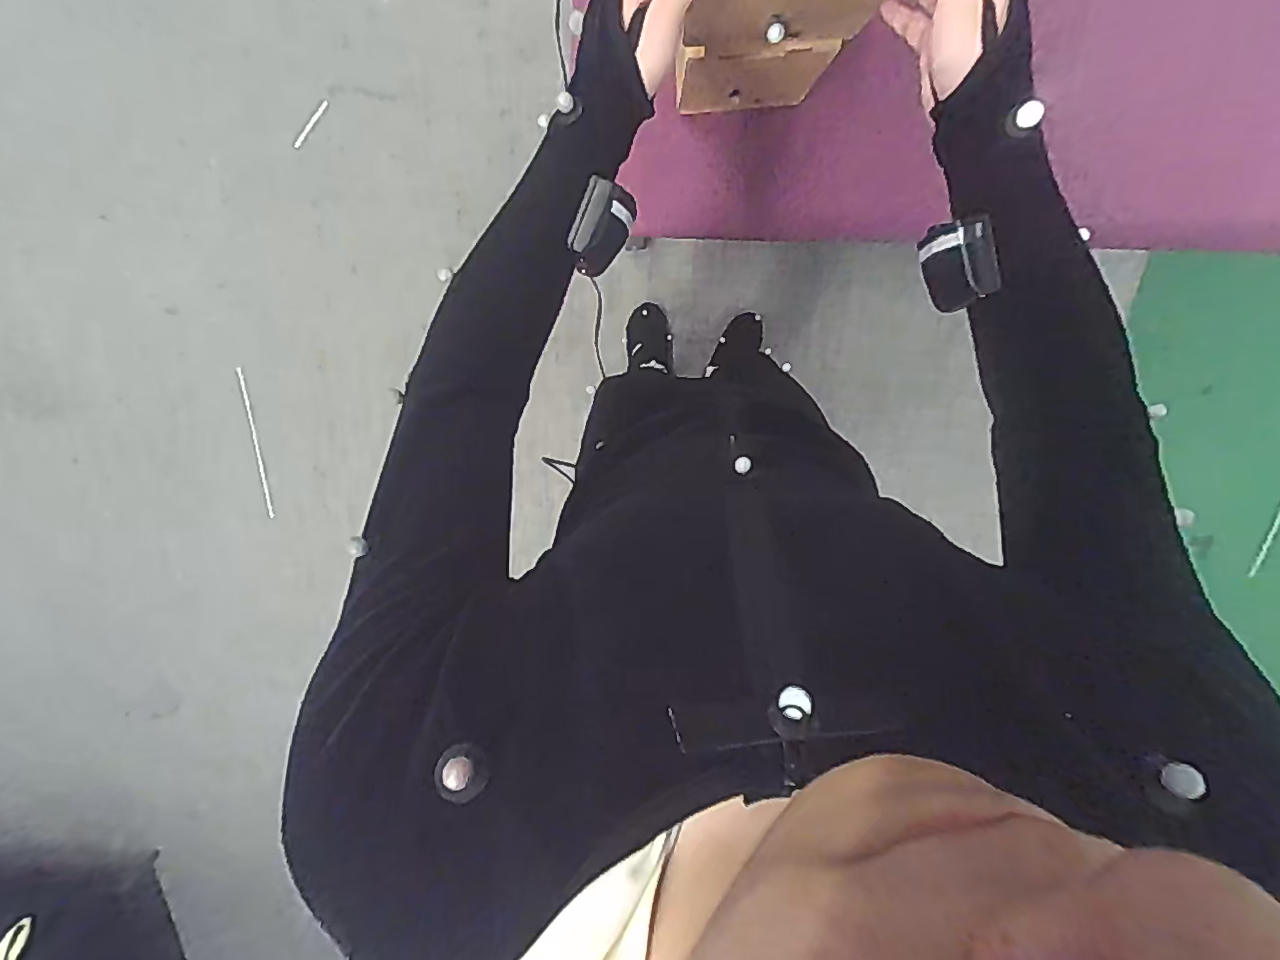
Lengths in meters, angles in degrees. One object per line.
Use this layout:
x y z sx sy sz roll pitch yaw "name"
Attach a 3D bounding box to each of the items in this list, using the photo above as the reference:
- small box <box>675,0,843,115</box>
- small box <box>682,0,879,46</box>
0.128 -0.553 0.622 0.168 0.176 0.179 -4 109 2 "small box"
0.117 -0.473 0.414 0.168 0.176 0.179 -1 111 3 "small box"
